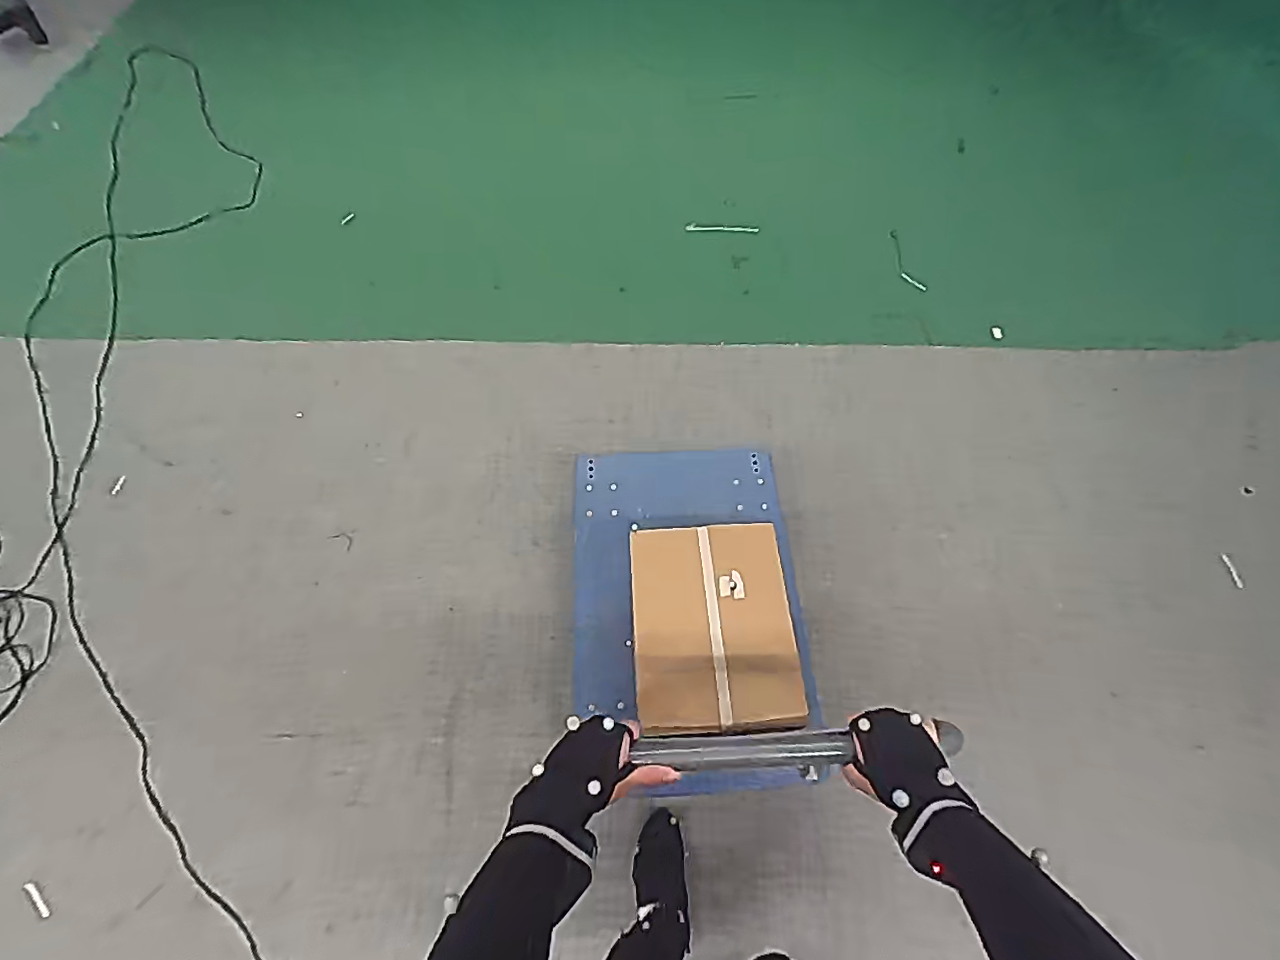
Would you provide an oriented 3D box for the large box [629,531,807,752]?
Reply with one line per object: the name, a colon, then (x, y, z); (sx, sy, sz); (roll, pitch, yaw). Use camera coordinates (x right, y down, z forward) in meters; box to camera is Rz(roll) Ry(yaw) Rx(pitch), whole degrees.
large box: (0.144, 0.367, 1.209); (0.320, 0.320, 0.408); (-3, 60, -2)
